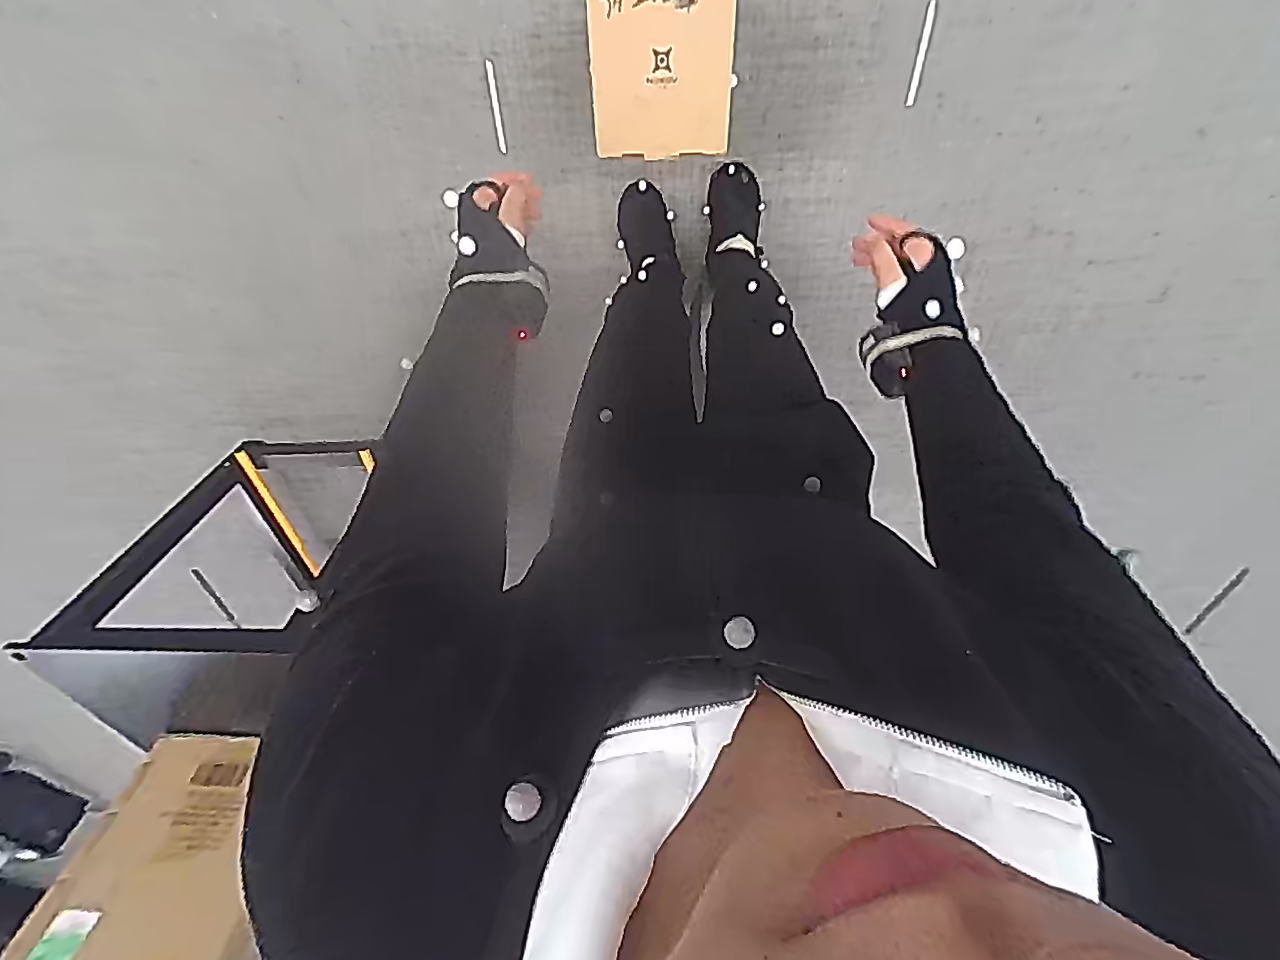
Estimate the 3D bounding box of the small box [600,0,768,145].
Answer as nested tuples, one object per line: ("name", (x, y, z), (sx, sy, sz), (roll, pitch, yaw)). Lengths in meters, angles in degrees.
("small box", (0.047, -0.491, 0.603), (0.168, 0.176, 0.179), (0, 130, 3))
